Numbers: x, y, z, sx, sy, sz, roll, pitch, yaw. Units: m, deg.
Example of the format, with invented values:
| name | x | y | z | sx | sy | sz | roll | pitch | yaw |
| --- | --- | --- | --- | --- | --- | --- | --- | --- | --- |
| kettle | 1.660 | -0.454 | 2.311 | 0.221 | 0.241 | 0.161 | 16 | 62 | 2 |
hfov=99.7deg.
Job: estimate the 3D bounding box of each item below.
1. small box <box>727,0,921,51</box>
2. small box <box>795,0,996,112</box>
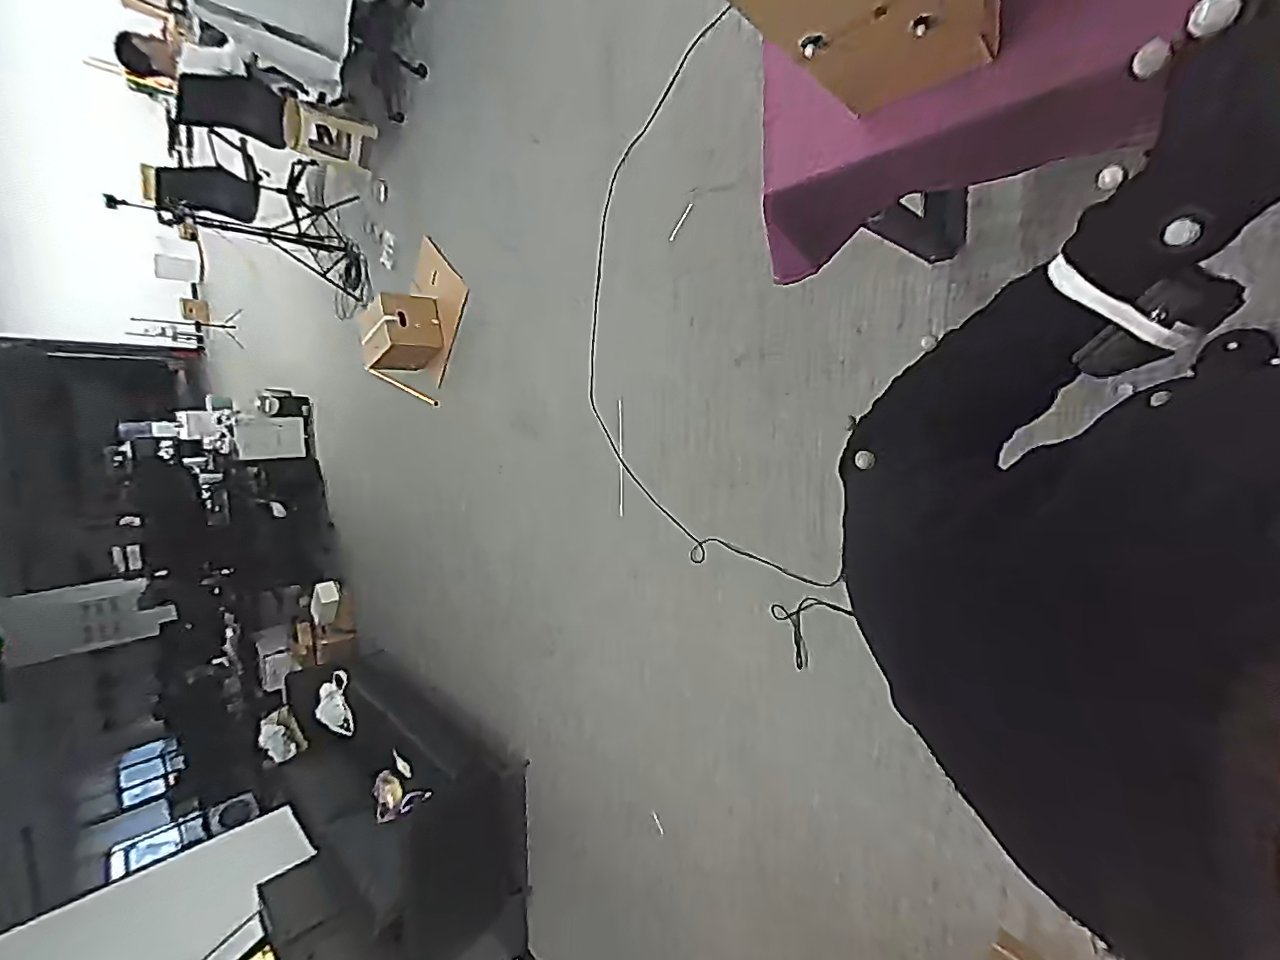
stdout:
| name | x | y | z | sx | sy | sz | roll | pitch | yaw |
| --- | --- | --- | --- | --- | --- | --- | --- | --- | --- |
| small box | 0.189 | -0.564 | 0.521 | 0.168 | 0.176 | 0.179 | 4 | 97 | 43 |
| small box | 0.302 | -0.579 | 0.639 | 0.179 | 0.176 | 0.168 | 4 | 98 | 43 |
